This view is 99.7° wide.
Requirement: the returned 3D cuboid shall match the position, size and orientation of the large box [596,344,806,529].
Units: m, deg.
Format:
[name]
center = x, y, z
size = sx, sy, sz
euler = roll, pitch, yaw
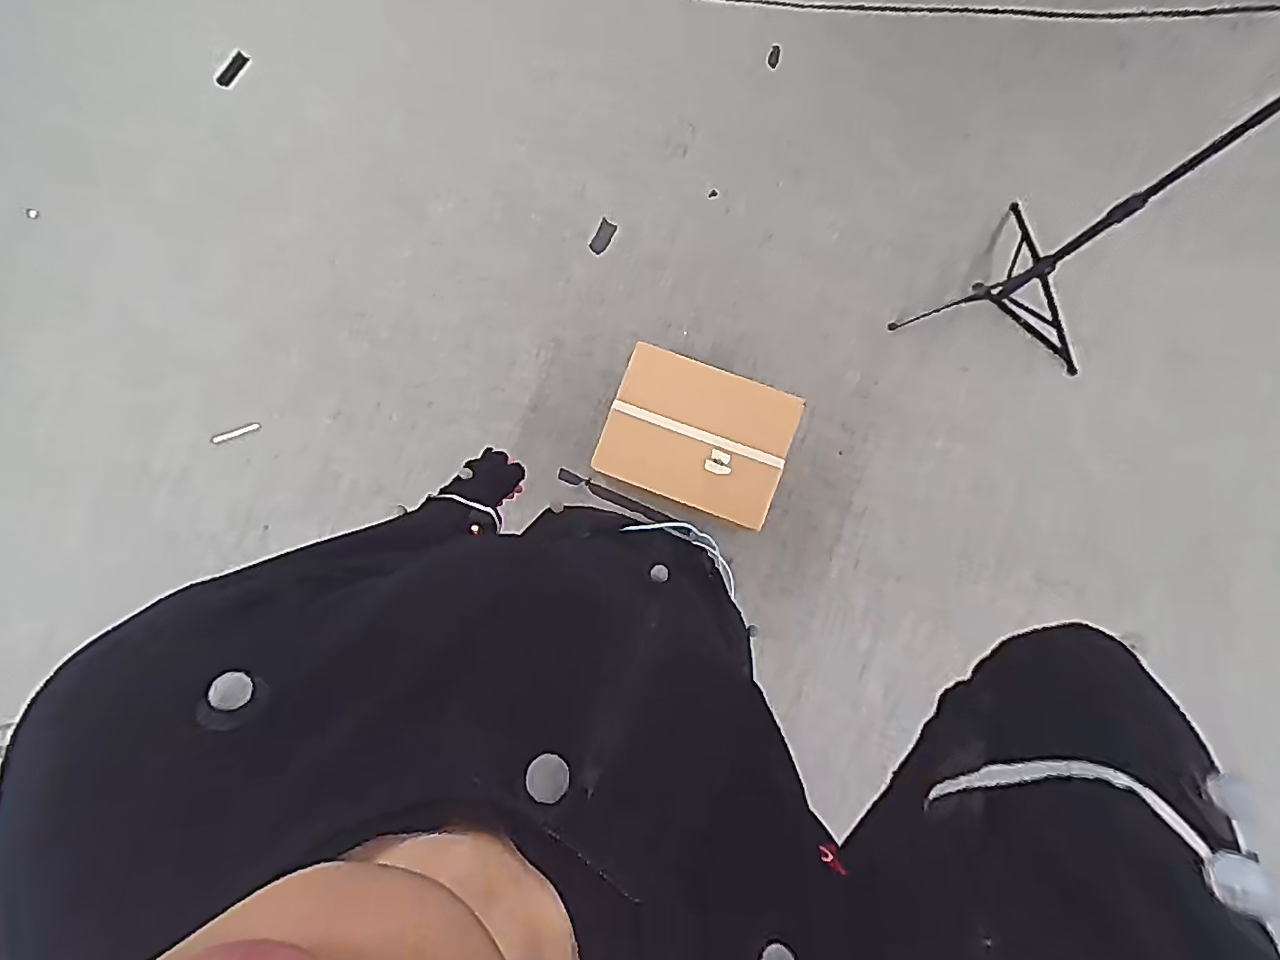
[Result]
[large box]
center = 0.139, -0.089, 1.357
size = 0.408, 0.320, 0.320
euler = 21, 86, 4
